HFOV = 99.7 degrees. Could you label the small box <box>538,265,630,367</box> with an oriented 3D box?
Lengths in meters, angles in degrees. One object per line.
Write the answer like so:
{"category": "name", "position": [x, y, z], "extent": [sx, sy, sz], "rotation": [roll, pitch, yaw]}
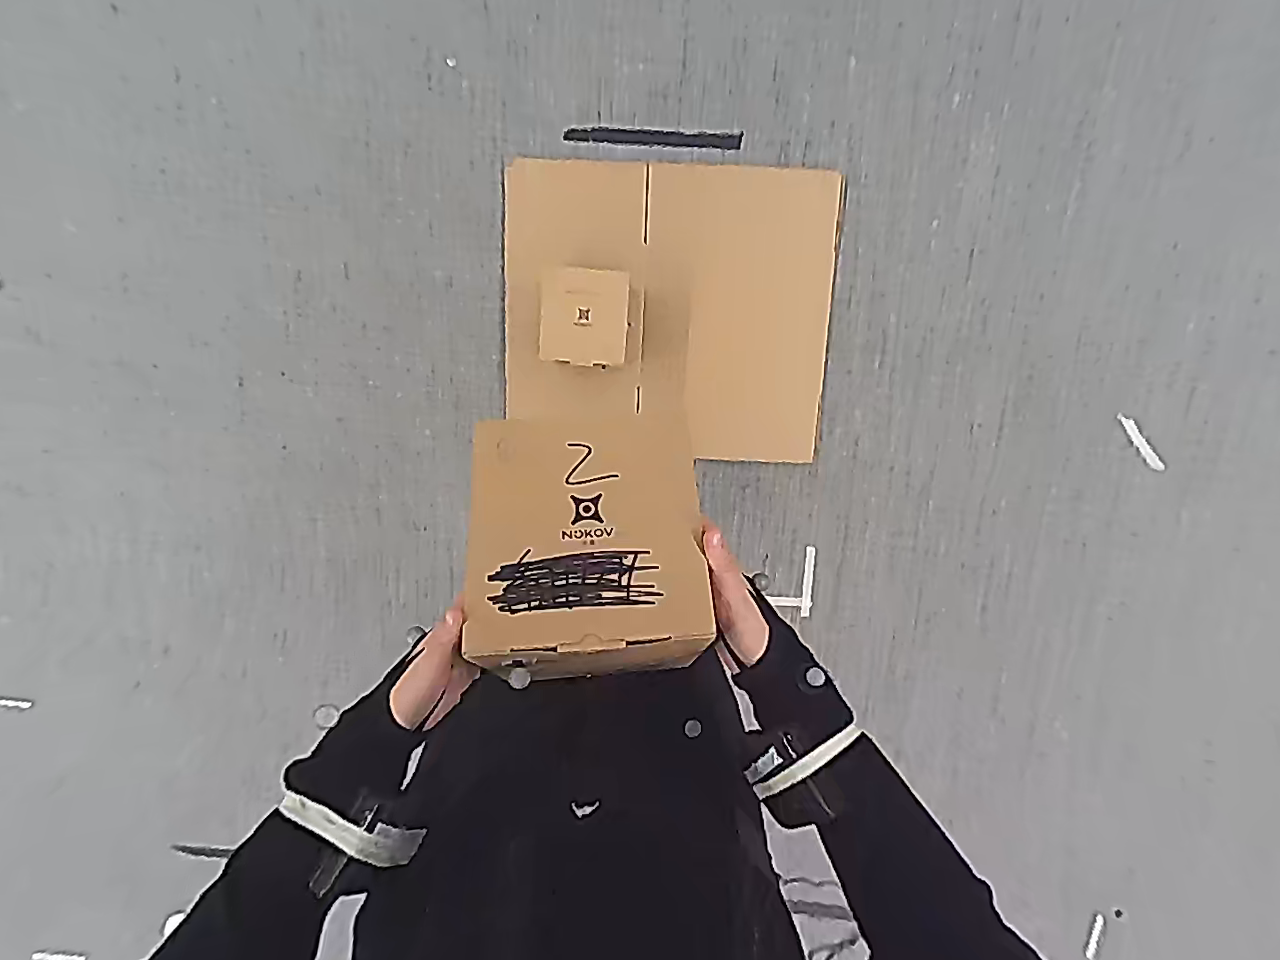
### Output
{"category": "small box", "position": [-0.107, -0.322, 1.091], "extent": [0.168, 0.176, 0.179], "rotation": [3, 101, -1]}
